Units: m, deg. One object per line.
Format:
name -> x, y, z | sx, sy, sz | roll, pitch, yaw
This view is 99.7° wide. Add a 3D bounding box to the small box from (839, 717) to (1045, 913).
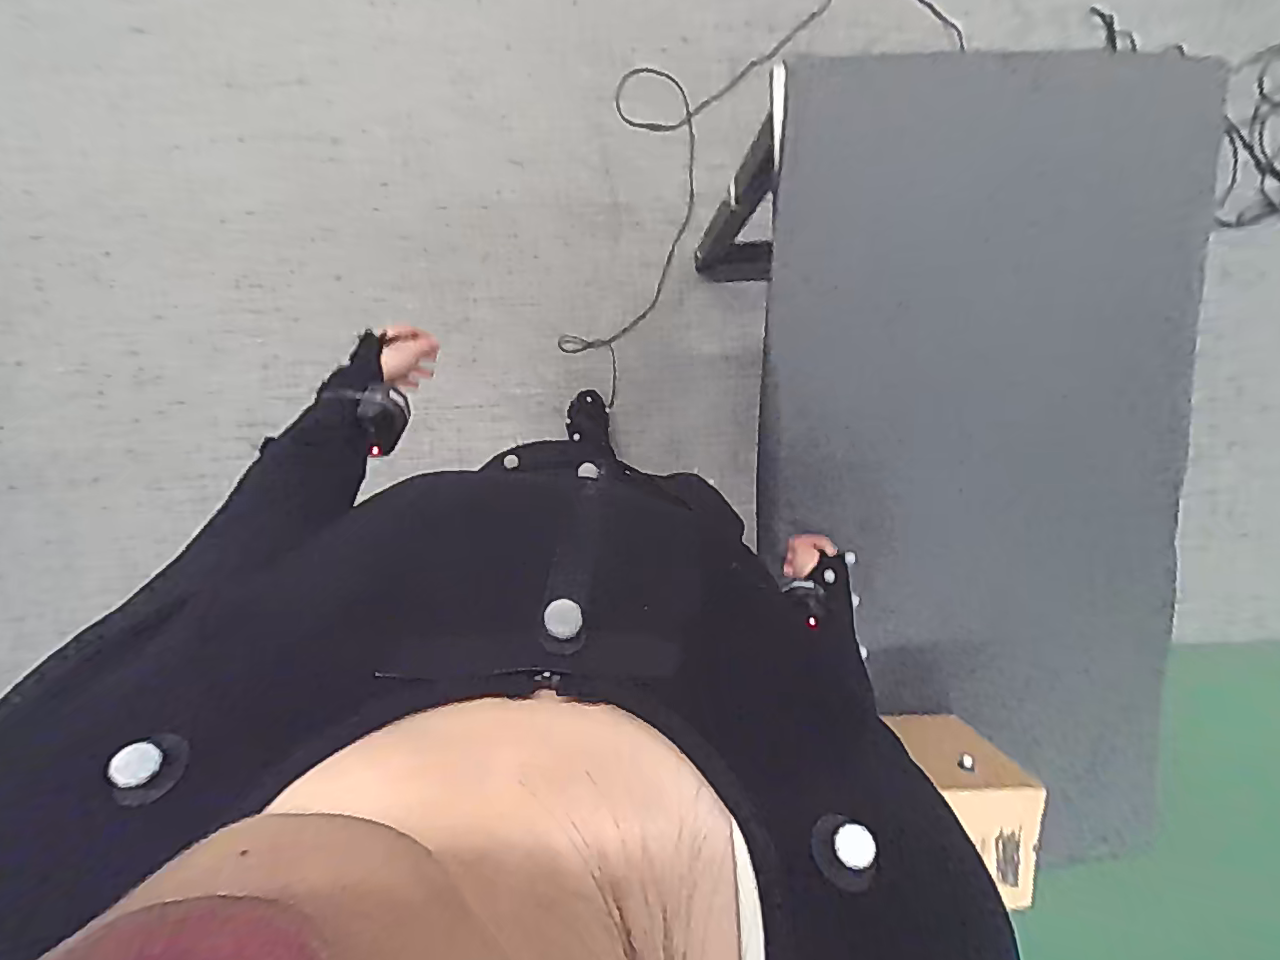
small box -> 0.401, 0.445, 0.743 | 0.179, 0.176, 0.168 | 2, 96, -6
